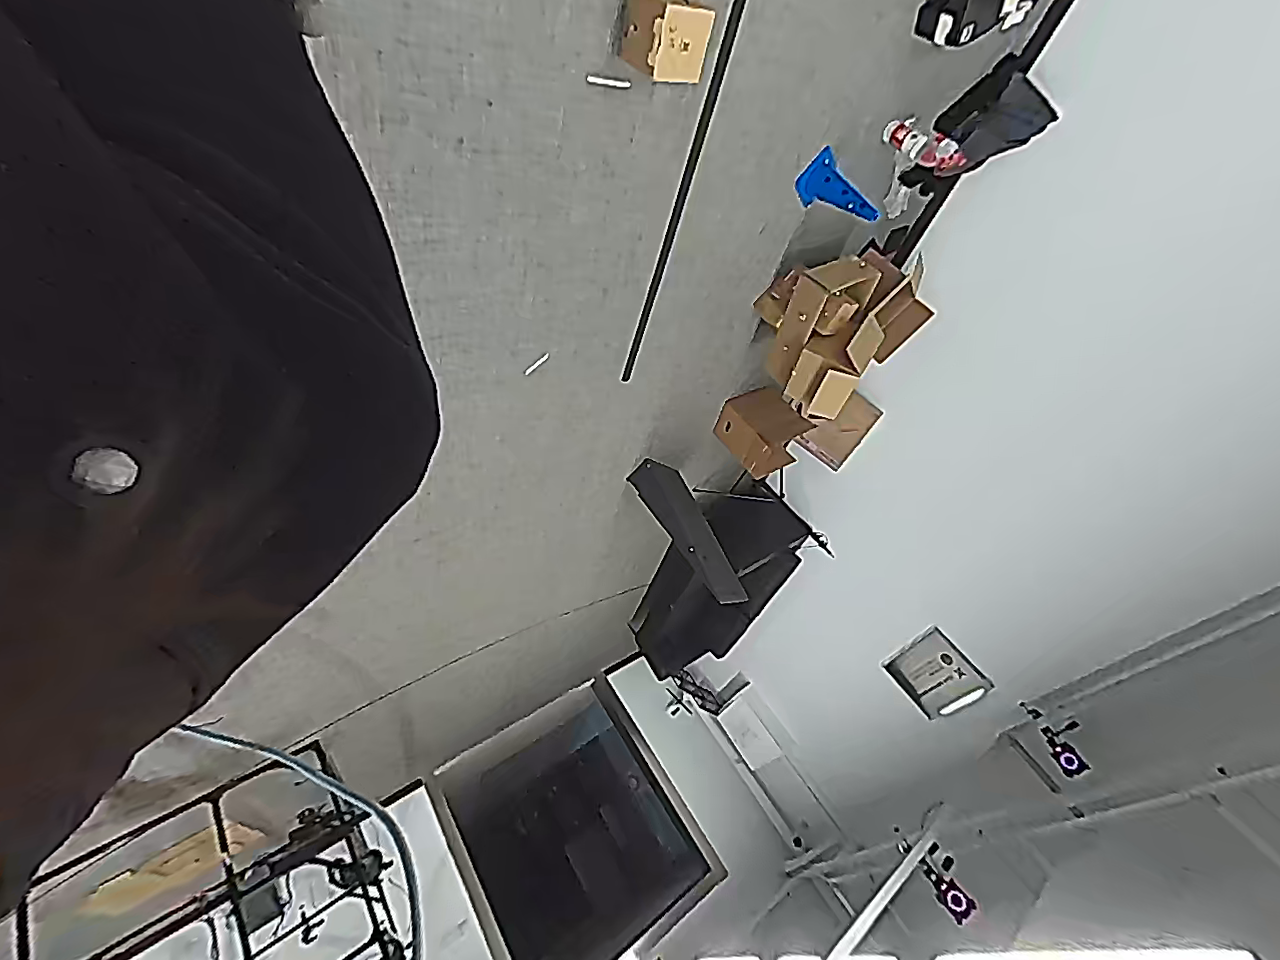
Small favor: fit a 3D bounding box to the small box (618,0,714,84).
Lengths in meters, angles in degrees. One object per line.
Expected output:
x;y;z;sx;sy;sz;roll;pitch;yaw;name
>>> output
0.067;-1.223;1.488;0.179;0.176;0.168;-21;149;-30;small box
